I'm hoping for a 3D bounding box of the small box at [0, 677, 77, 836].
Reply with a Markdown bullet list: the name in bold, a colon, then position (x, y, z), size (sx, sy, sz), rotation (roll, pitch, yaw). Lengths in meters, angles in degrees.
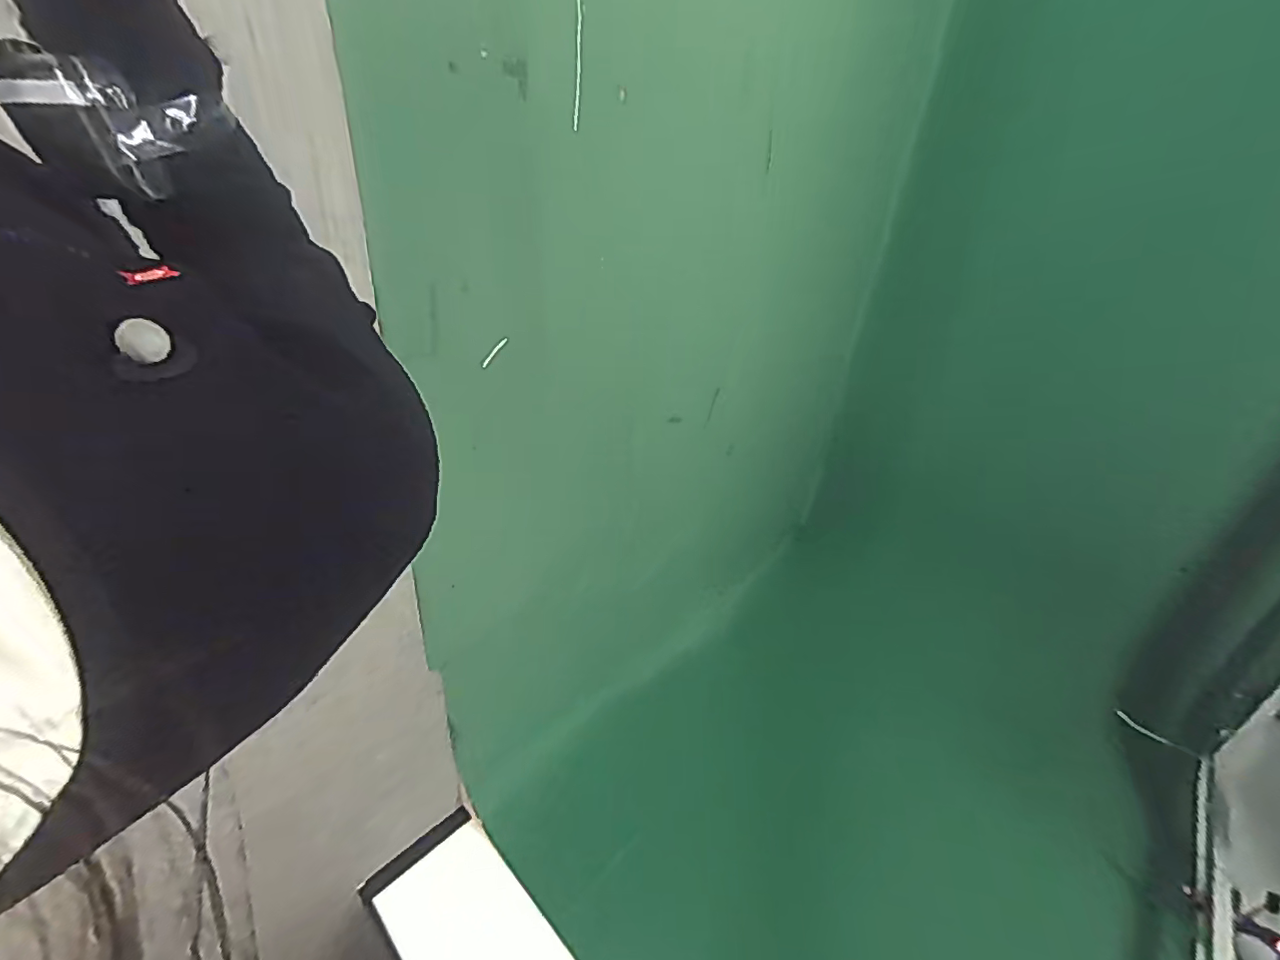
- **small box**: position (-1.041, 0.447, 0.842), size (0.179, 0.176, 0.168), rotation (-27, 130, -39)
